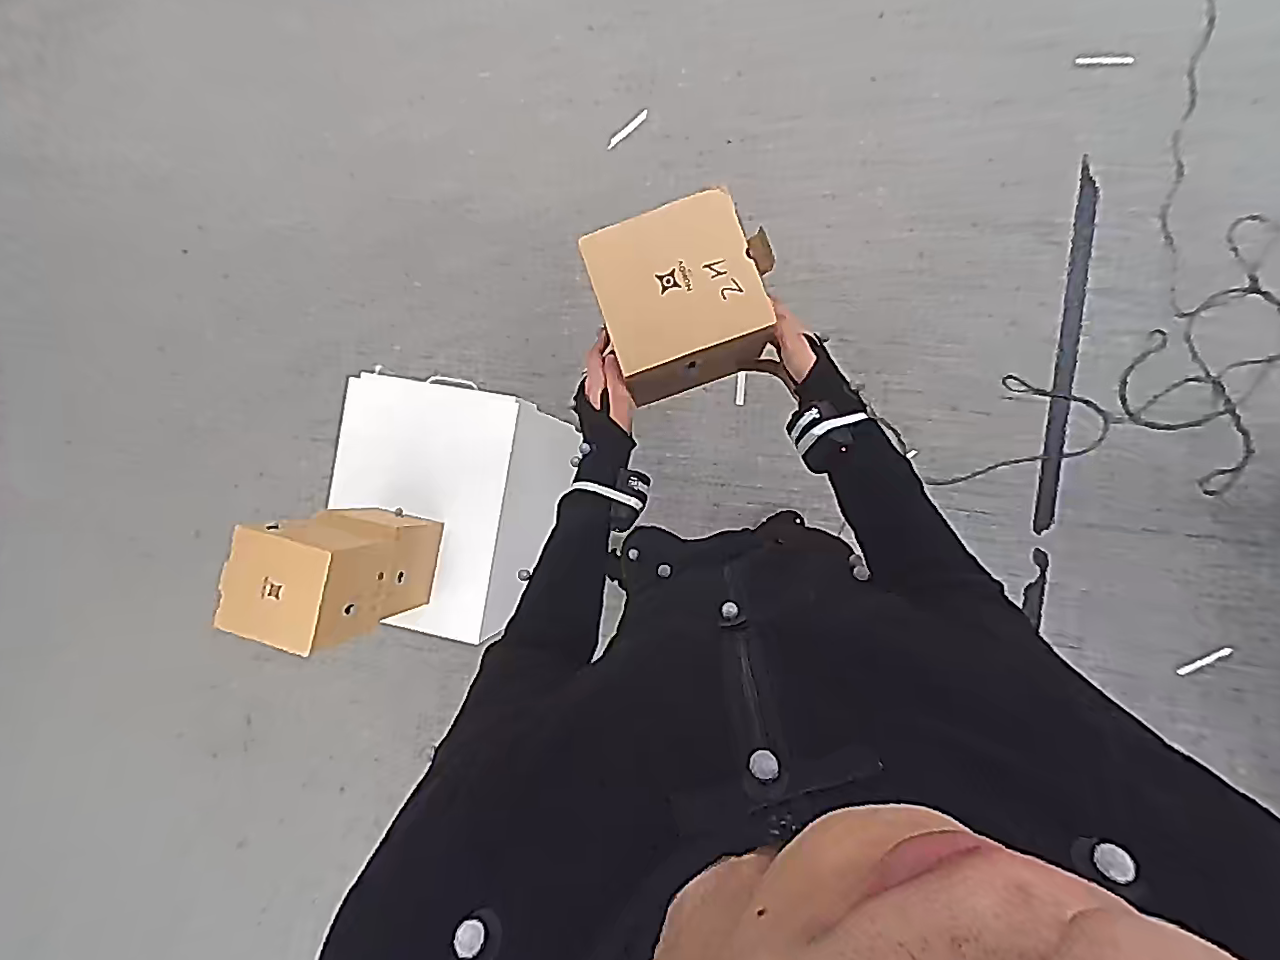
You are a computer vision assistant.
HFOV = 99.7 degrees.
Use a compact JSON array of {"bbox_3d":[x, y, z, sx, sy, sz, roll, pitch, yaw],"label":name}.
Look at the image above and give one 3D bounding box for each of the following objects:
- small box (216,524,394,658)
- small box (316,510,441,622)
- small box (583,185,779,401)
[{"bbox_3d":[-0.544,0.172,0.901,0.179,0.176,0.168,13,90,10],"label":"small box"},{"bbox_3d":[-0.515,0.159,1.061,0.168,0.176,0.179,11,89,9],"label":"small box"},{"bbox_3d":[0.048,-0.209,0.658,0.179,0.176,0.168,-18,85,2],"label":"small box"}]
